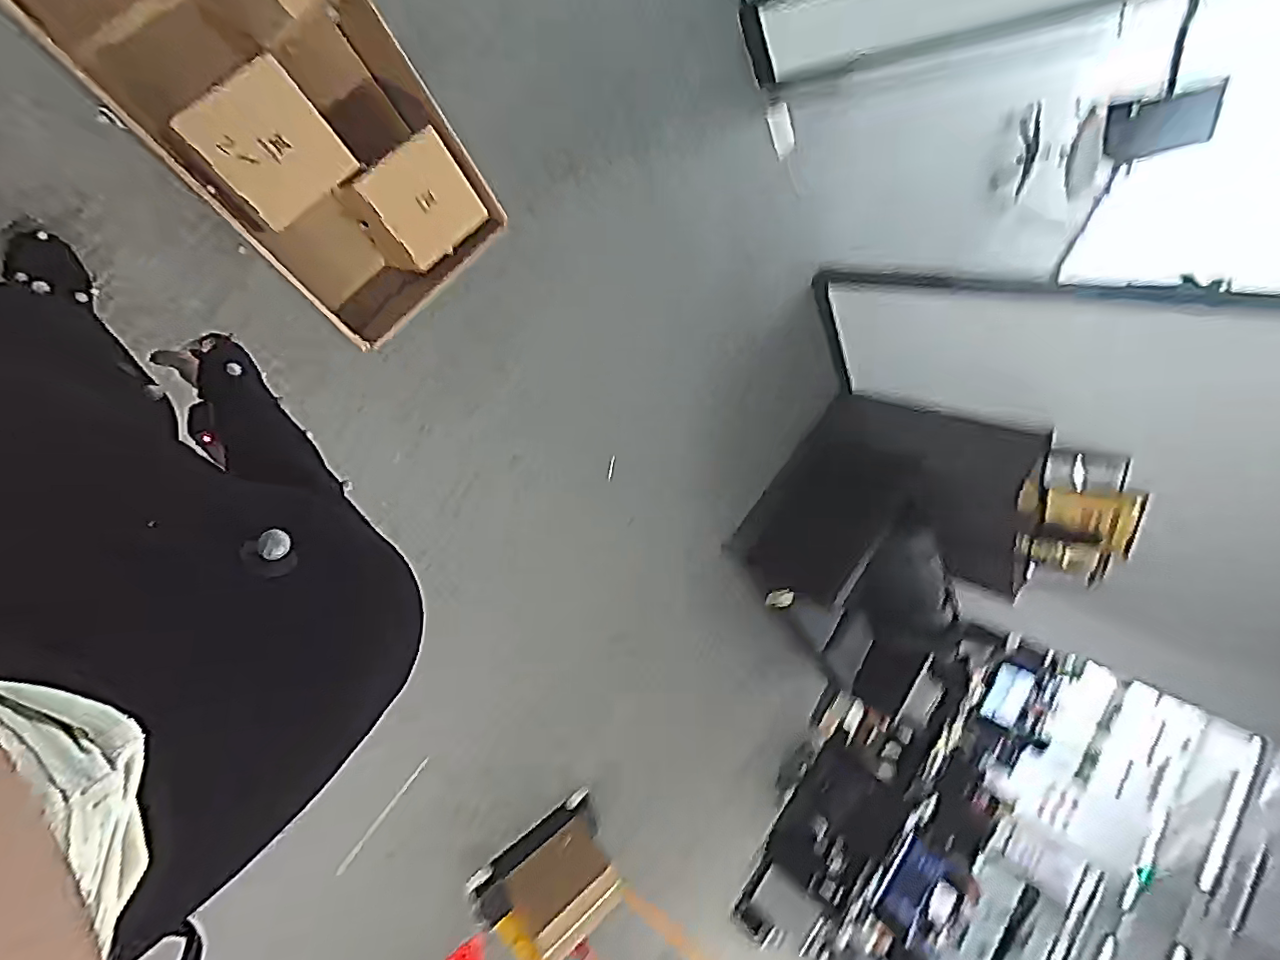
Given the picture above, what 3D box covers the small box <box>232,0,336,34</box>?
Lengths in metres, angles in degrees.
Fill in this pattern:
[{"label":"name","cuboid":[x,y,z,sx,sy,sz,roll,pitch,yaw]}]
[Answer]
[{"label":"small box","cuboid":[-0.453,-0.691,0.664,0.168,0.176,0.179,-50,136,-15]}]
